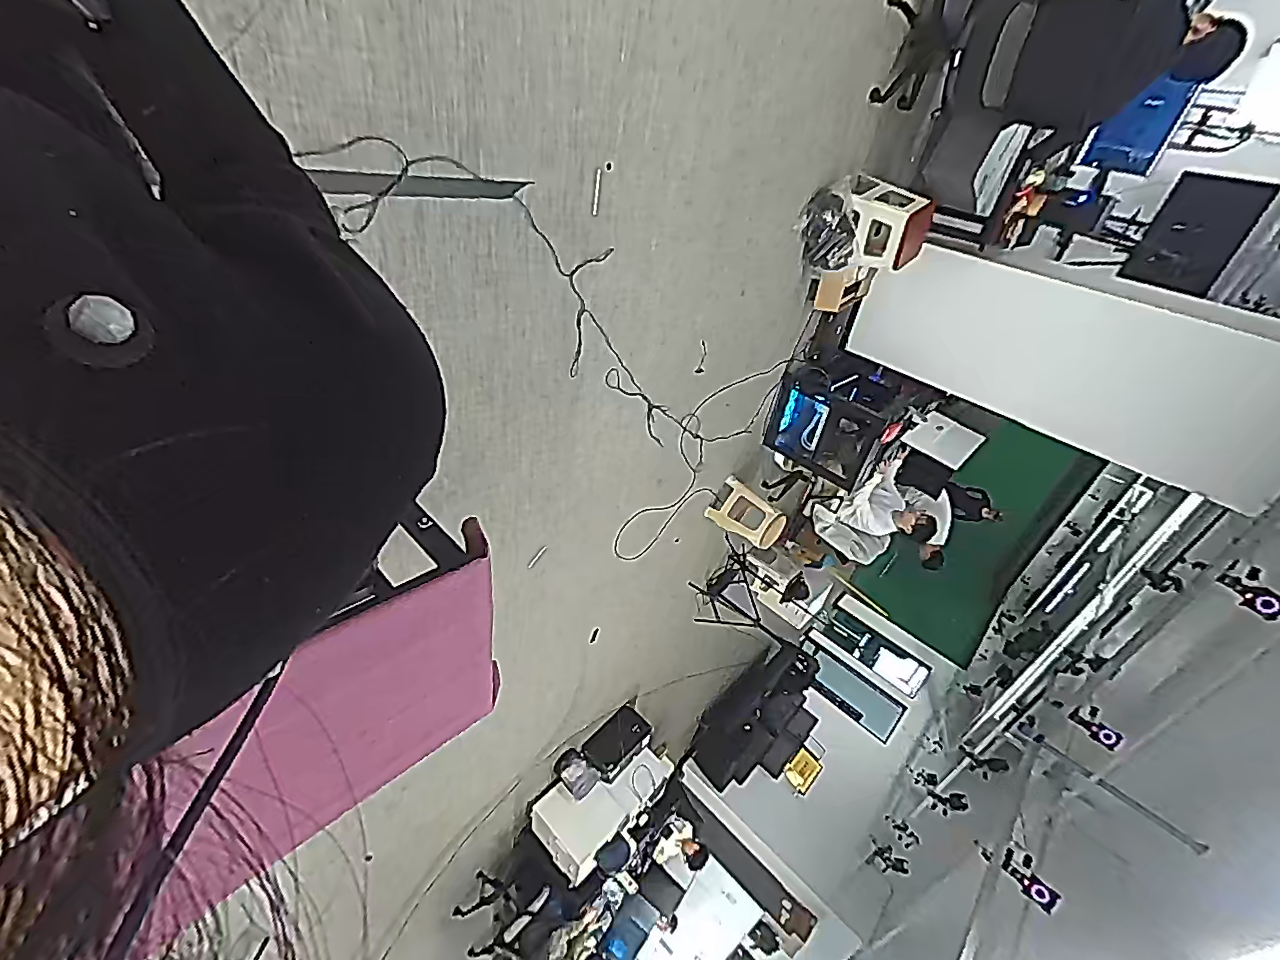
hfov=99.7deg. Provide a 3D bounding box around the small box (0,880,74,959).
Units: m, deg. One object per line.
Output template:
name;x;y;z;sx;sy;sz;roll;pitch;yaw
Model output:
small box;-0.923;0.717;0.745;0.179;0.176;0.168;-25;139;-42

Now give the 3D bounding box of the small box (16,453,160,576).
small box;-1.198;0.068;1.178;0.168;0.176;0.179;-27;138;-40
